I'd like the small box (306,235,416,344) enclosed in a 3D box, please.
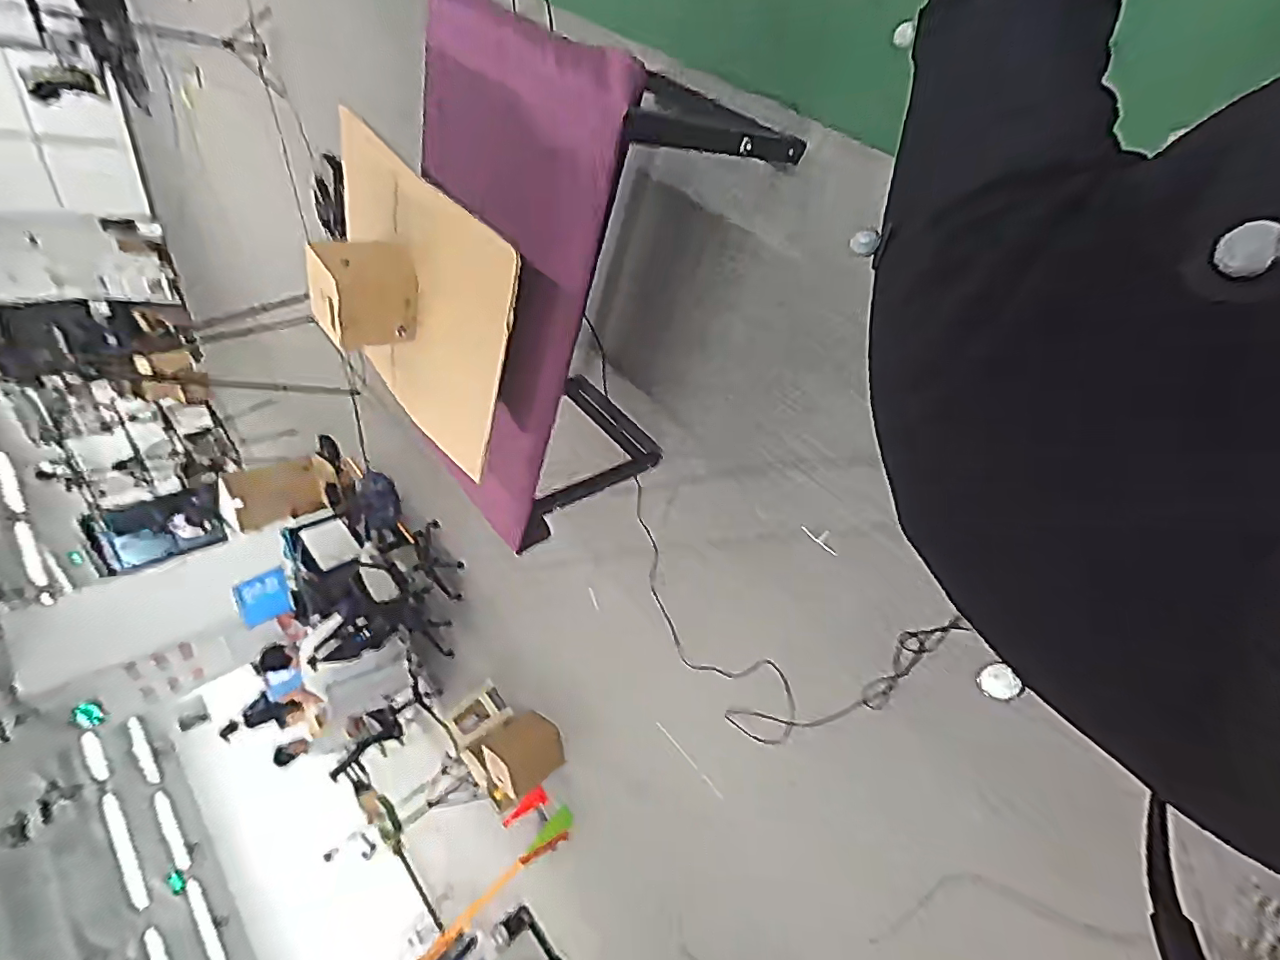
[{"bbox_3d":[-0.623,-0.434,1.219,0.179,0.176,0.168,48,135,24],"label":"small box"}]
